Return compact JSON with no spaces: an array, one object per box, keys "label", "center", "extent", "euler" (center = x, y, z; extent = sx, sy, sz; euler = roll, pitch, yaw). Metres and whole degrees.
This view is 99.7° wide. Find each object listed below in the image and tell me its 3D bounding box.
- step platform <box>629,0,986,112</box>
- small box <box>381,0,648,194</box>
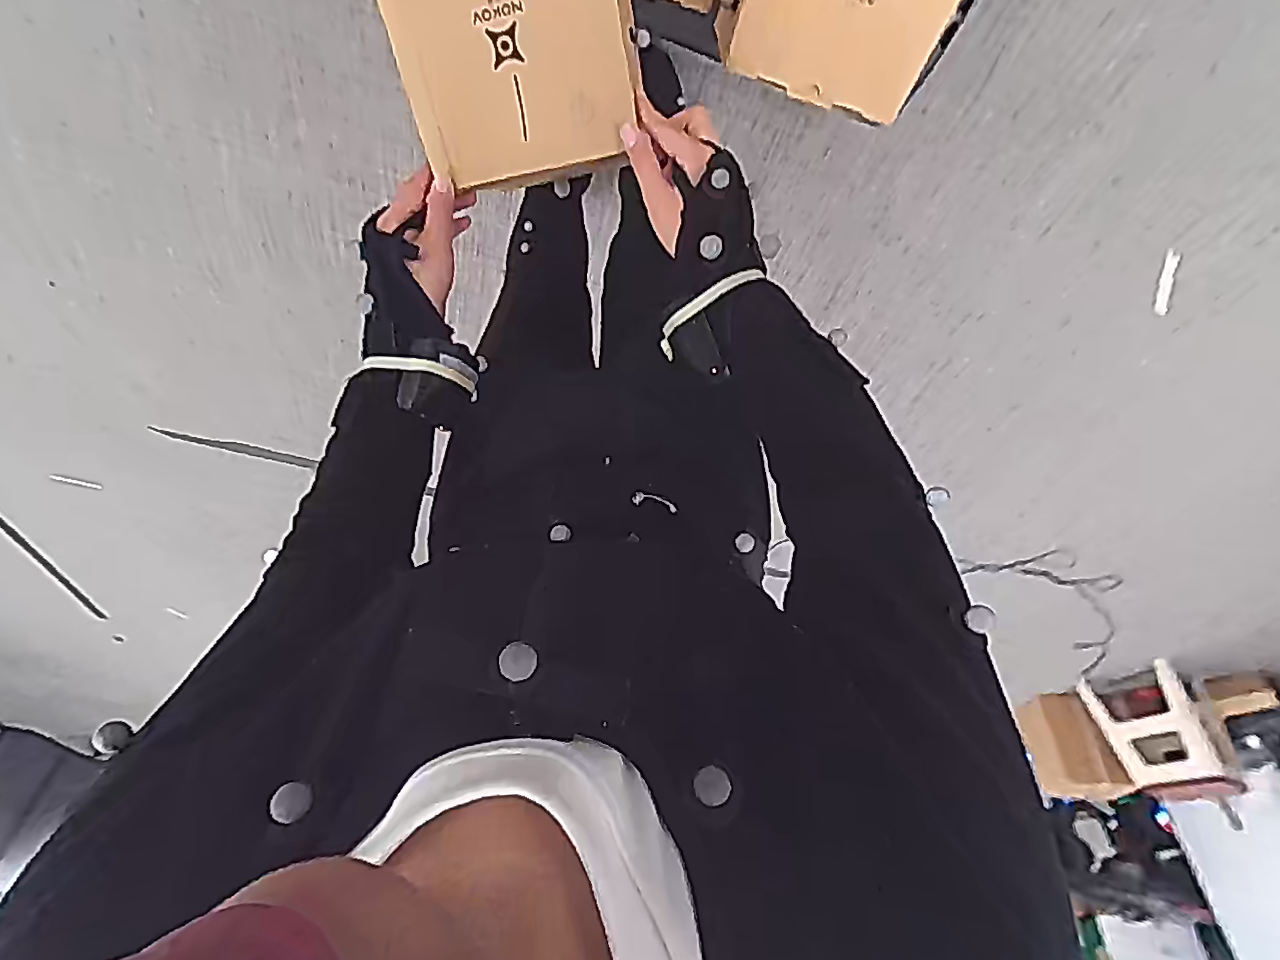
[{"label":"step platform","center":[0.120,-0.736,0.669],"extent":[0.684,0.204,0.286],"euler":[14,138,-10]},{"label":"small box","center":[-0.089,-0.348,0.448],"extent":[0.168,0.176,0.179],"euler":[-7,117,8]}]
